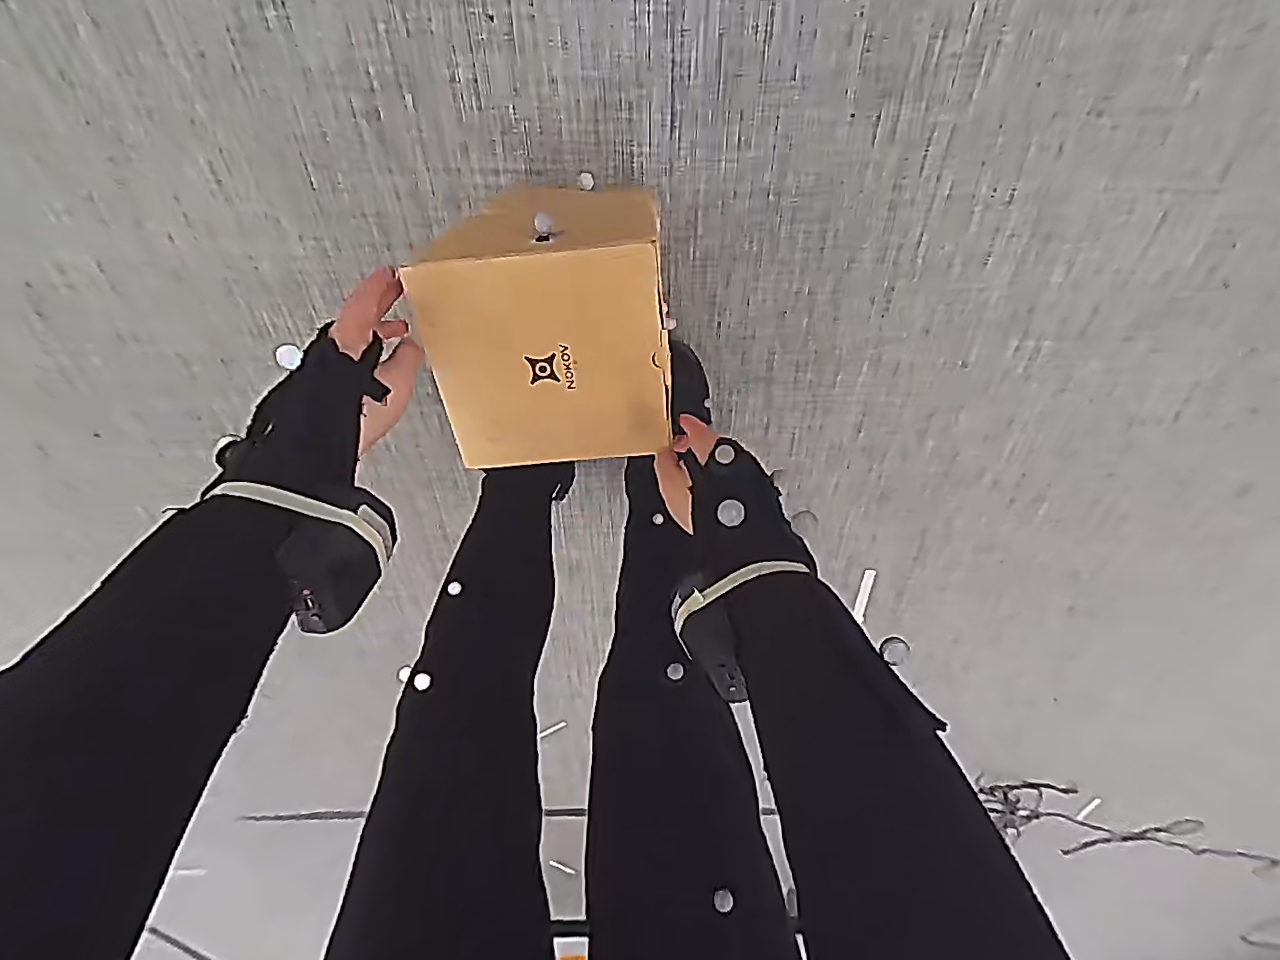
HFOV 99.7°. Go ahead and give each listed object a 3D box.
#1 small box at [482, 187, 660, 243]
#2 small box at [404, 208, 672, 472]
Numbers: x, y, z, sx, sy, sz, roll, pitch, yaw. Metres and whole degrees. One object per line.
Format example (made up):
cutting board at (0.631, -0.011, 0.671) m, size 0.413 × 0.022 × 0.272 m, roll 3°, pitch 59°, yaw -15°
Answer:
small box at (-0.065, -0.214, 0.603) m, size 0.168 × 0.176 × 0.179 m, roll 1°, pitch 125°, yaw -2°
small box at (-0.067, -0.126, 0.466) m, size 0.179 × 0.176 × 0.168 m, roll -5°, pitch 126°, yaw 2°
